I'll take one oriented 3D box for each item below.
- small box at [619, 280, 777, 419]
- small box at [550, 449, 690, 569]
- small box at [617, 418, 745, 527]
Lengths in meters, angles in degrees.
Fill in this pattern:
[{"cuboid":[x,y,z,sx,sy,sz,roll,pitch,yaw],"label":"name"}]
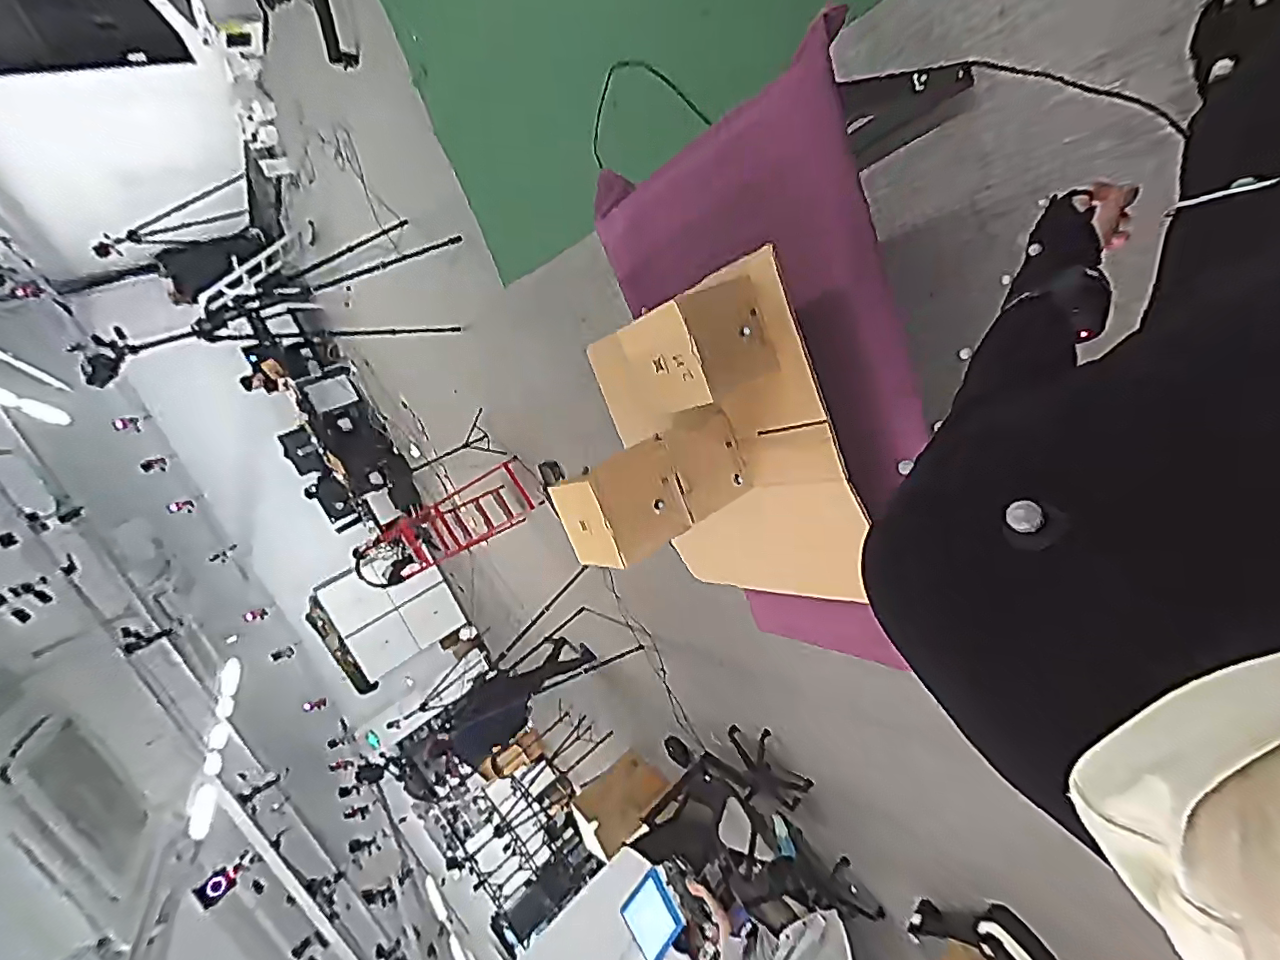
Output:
[{"cuboid":[0.099,-0.219,0.922,0.179,0.176,0.168,-6,110,56],"label":"small box"},{"cuboid":[-0.037,0.052,1.013,0.179,0.176,0.168,-9,105,56],"label":"small box"},{"cuboid":[0.089,-0.015,1.091,0.179,0.176,0.168,-7,107,57],"label":"small box"}]
